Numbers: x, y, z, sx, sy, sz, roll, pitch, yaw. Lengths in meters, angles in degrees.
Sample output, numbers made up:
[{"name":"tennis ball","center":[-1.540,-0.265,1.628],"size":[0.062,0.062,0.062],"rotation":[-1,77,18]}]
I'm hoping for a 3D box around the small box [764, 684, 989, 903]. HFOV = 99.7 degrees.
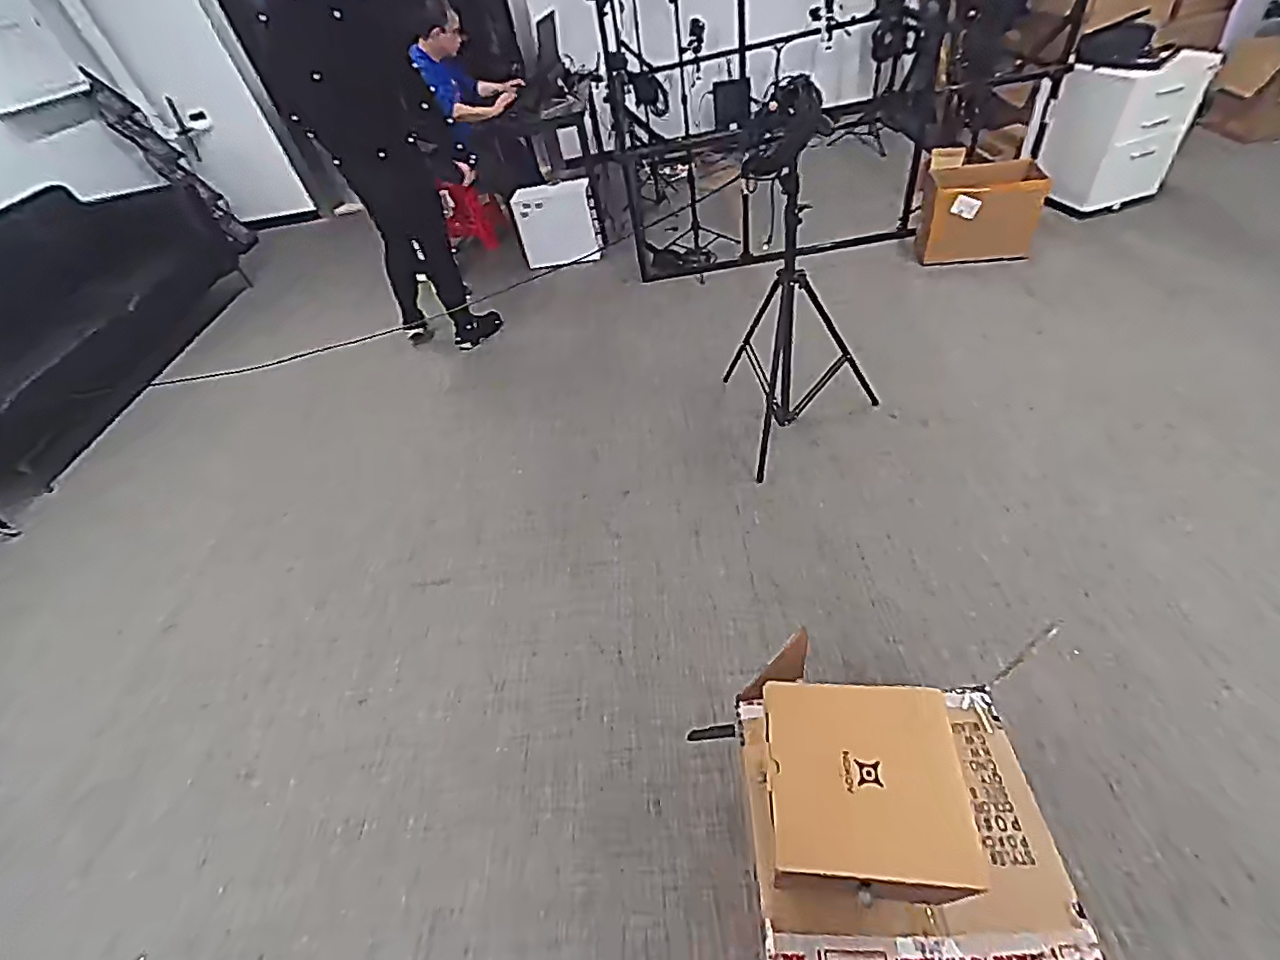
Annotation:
[{"name":"small box","center":[0.223,0.329,0.567],"size":[0.179,0.176,0.168],"rotation":[-3,49,12]}]
